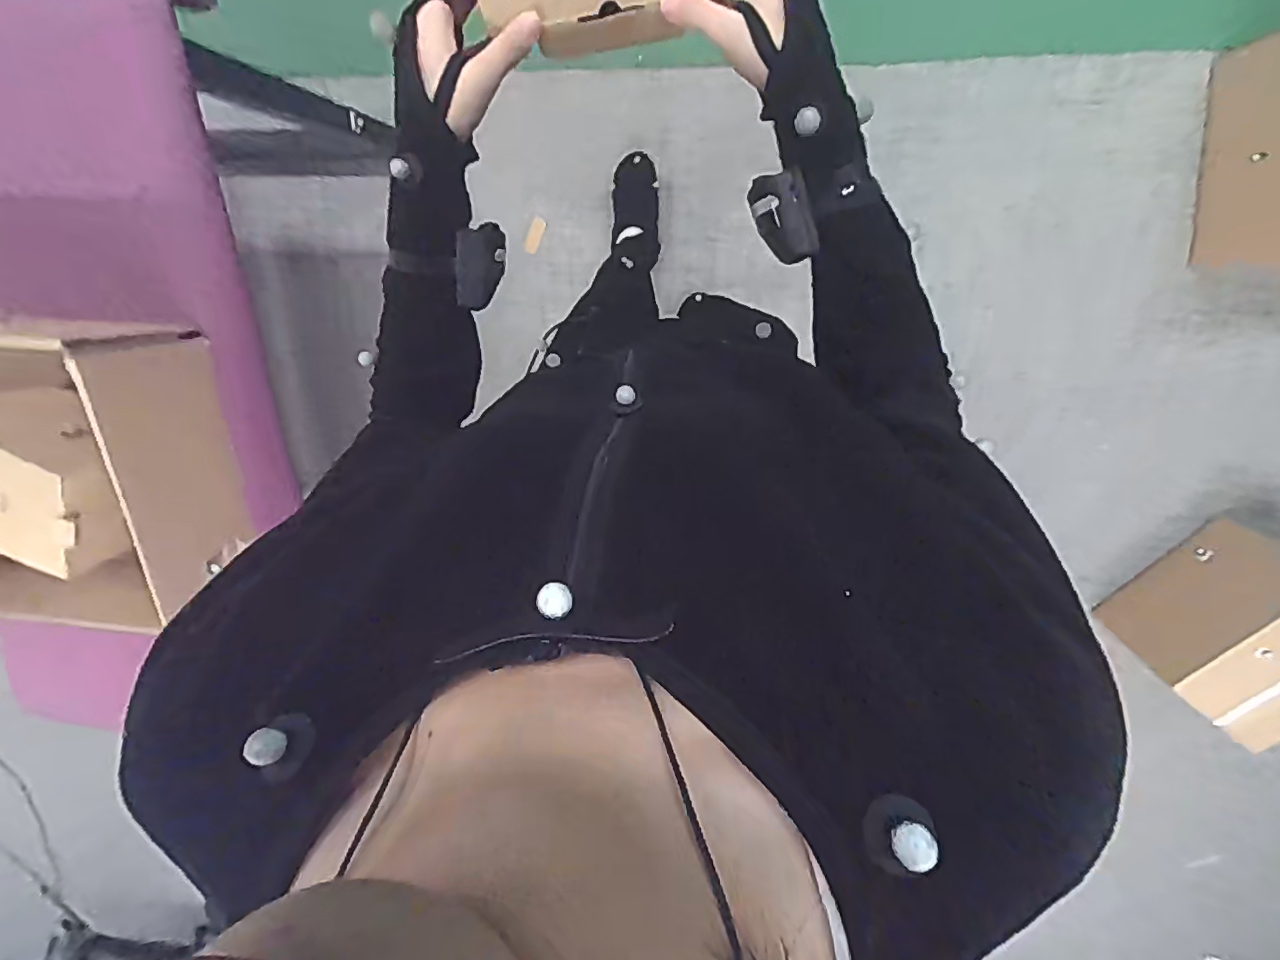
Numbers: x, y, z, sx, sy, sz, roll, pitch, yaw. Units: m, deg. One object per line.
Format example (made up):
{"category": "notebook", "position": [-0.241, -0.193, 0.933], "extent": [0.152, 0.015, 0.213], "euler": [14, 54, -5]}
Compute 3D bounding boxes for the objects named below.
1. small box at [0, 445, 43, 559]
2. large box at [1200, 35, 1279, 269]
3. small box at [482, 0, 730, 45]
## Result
{"category": "small box", "position": [-1.044, 0.043, 0.786], "extent": [0.179, 0.176, 0.168], "euler": [4, 111, 4]}
{"category": "large box", "position": [1.329, -0.634, 0.984], "extent": [0.320, 0.320, 0.408], "euler": [-11, 108, 10]}
{"category": "small box", "position": [-0.030, -0.416, 0.347], "extent": [0.168, 0.176, 0.179], "euler": [-7, 135, 6]}
